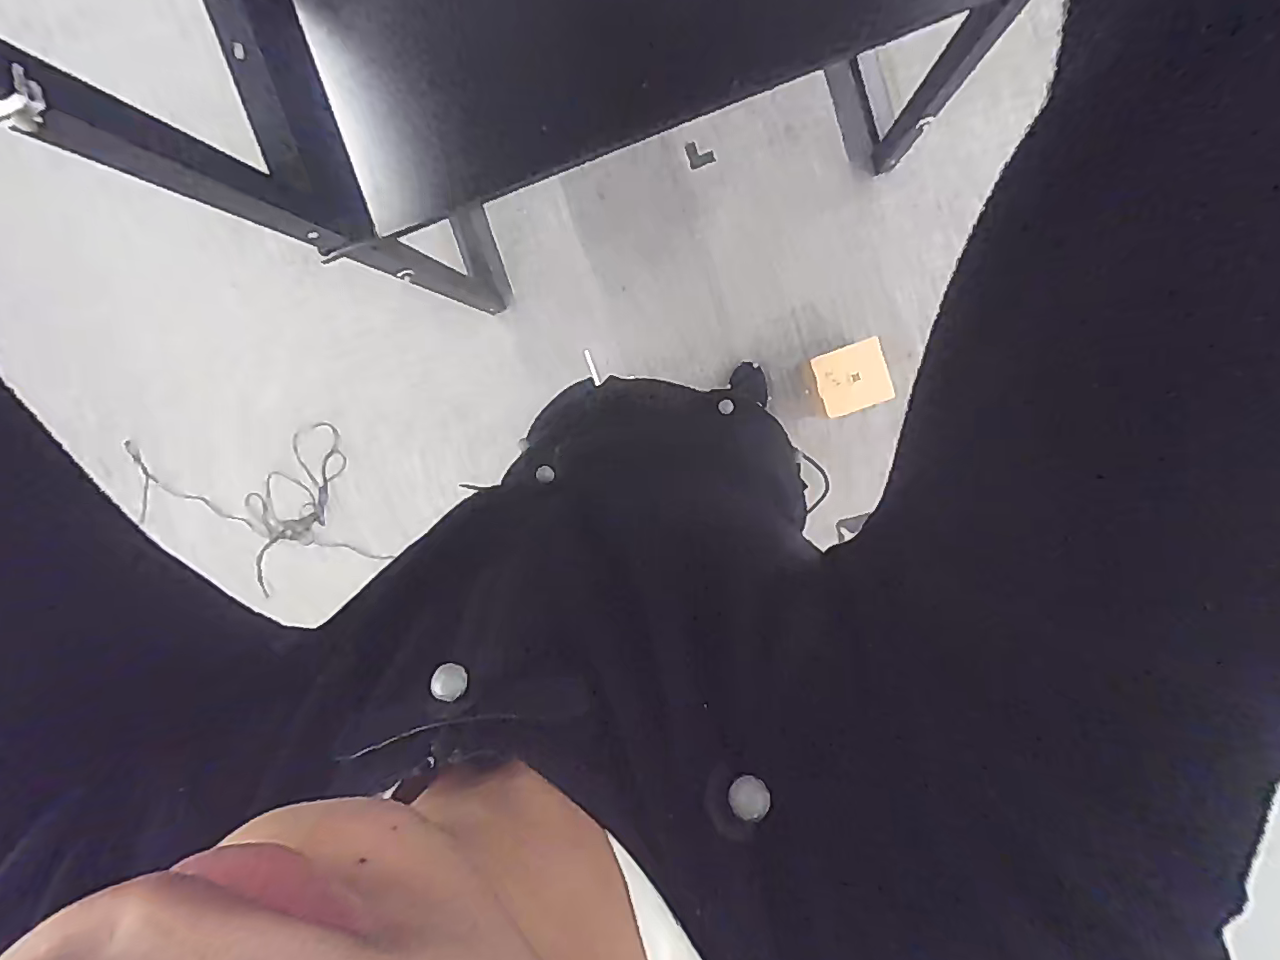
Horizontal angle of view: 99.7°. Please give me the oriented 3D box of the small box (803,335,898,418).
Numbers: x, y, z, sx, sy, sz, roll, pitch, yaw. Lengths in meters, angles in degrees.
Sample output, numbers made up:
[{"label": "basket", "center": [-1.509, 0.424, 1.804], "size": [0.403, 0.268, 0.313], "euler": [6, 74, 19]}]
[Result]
[{"label": "small box", "center": [0.556, -0.275, 1.447], "size": [0.179, 0.176, 0.168], "euler": [-19, 96, 10]}]
